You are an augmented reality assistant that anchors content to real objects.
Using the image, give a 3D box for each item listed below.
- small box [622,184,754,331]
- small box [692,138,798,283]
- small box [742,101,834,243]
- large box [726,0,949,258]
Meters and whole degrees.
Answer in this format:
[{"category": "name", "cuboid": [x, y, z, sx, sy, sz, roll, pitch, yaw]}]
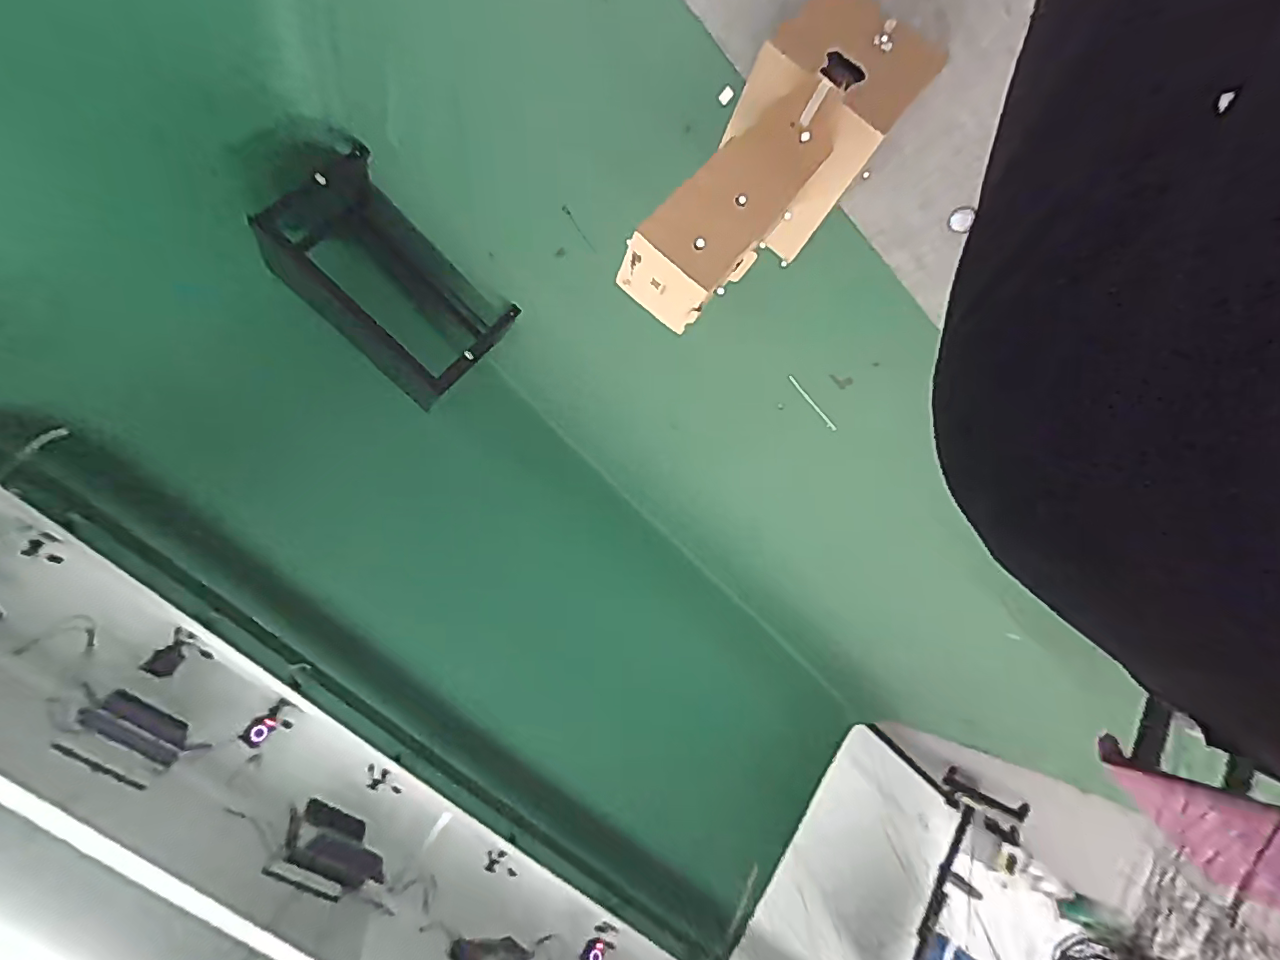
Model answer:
[{"category": "small box", "cuboid": [0.095, -0.440, 1.074, 0.179, 0.176, 0.168, 38, 160, -4]}, {"category": "small box", "cuboid": [0.195, -0.560, 1.126, 0.179, 0.176, 0.168, 40, 160, -5]}, {"category": "small box", "cuboid": [0.292, -0.675, 1.192, 0.168, 0.176, 0.179, 39, 160, -3]}, {"category": "large box", "cuboid": [0.432, -0.845, 1.301, 0.320, 0.320, 0.408, 40, 161, 1]}]
